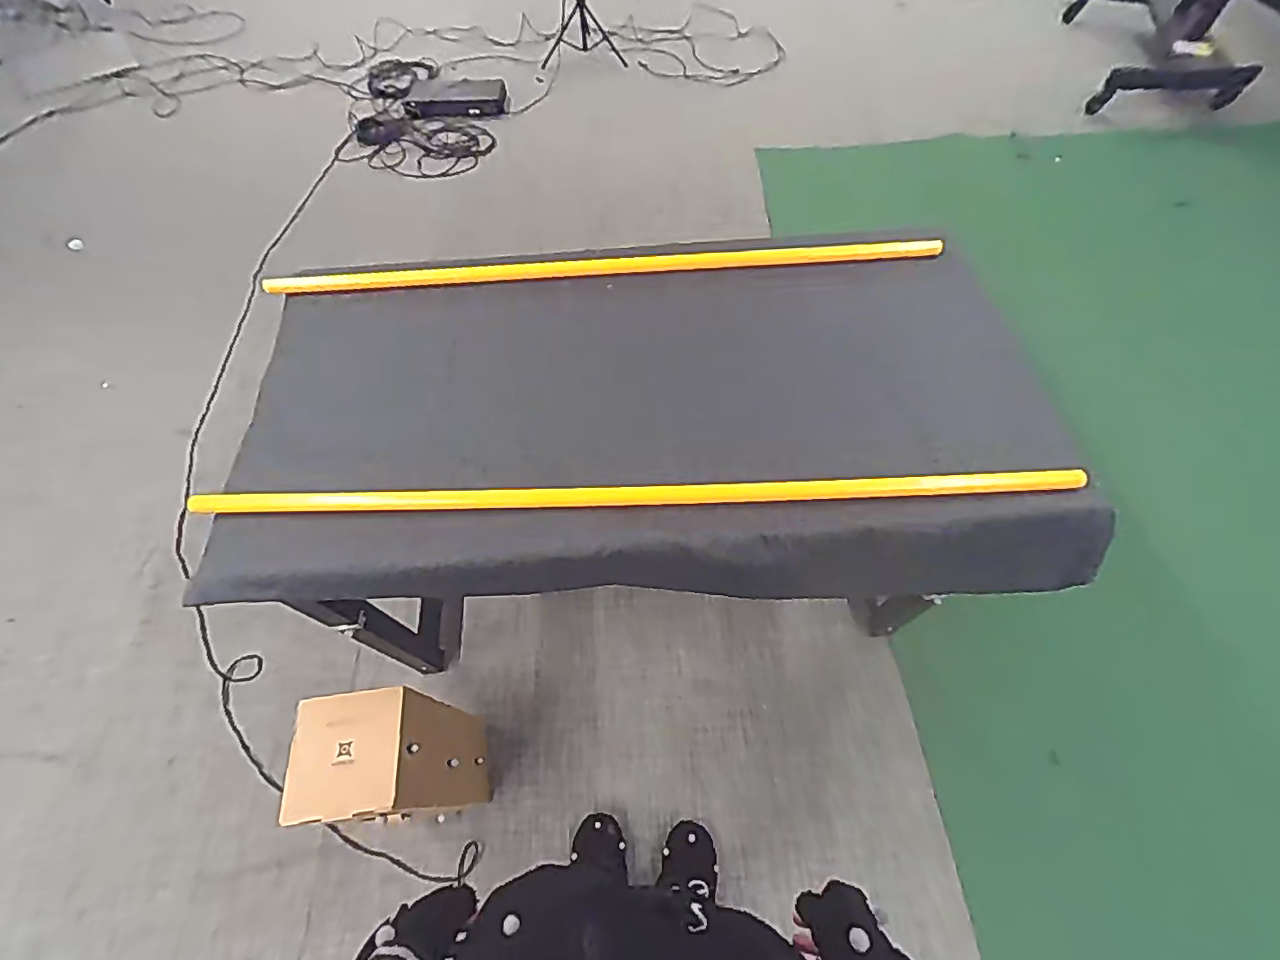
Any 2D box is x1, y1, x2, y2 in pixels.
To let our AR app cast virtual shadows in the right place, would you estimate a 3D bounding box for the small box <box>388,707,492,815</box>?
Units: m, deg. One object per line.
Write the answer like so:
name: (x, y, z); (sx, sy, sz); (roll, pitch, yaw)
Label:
small box: (-0.426, 0.611, 1.174); (0.168, 0.176, 0.179); (-11, 61, -4)
